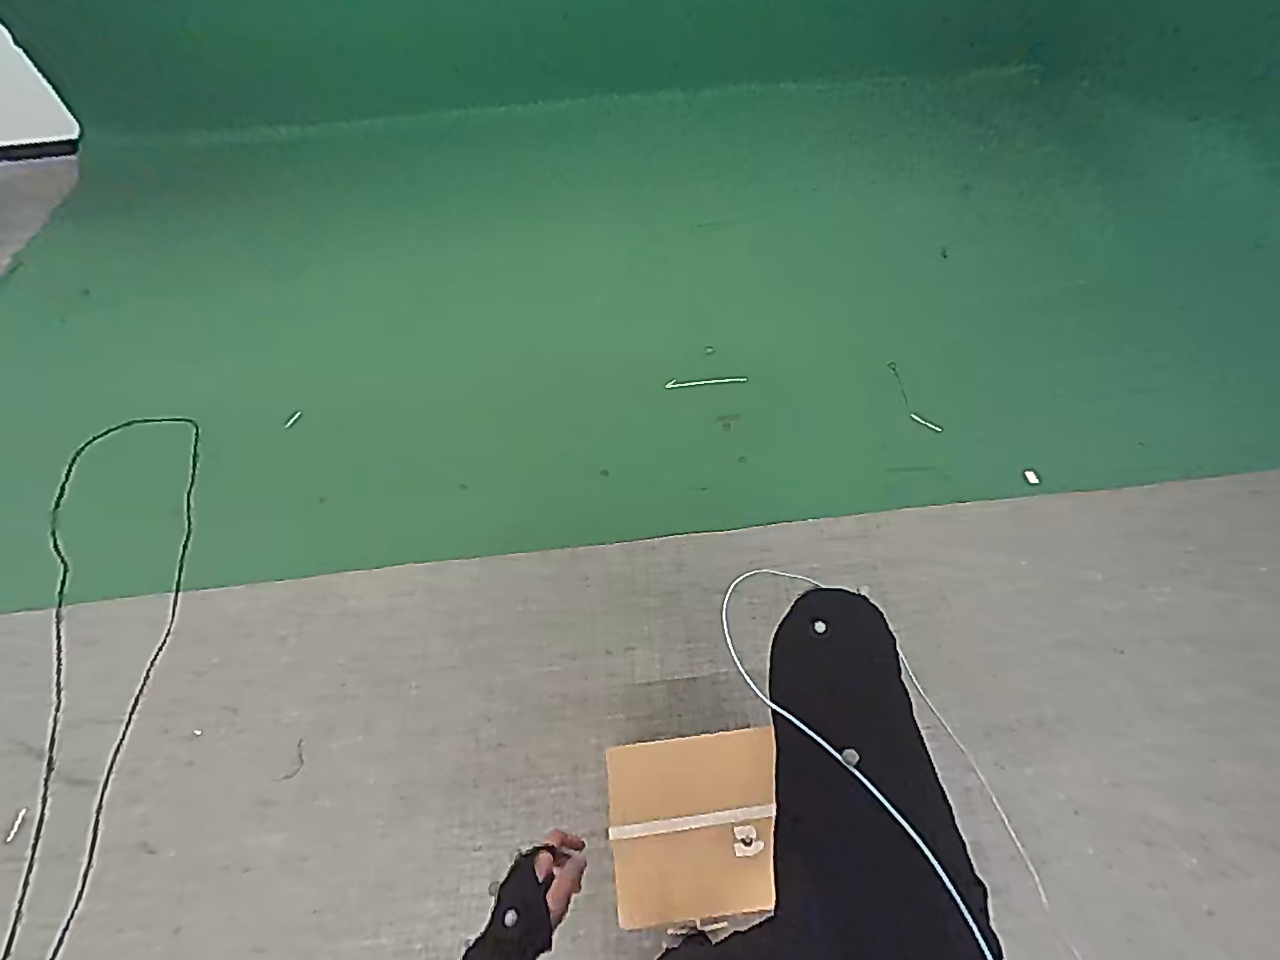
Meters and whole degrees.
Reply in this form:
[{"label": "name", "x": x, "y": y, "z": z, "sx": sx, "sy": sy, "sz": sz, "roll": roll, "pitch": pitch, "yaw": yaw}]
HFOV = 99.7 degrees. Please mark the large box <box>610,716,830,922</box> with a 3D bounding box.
[{"label": "large box", "x": 0.154, "y": 0.764, "z": 1.234, "sx": 0.408, "sy": 0.320, "sz": 0.320, "roll": -8, "pitch": 57, "yaw": -3}]
